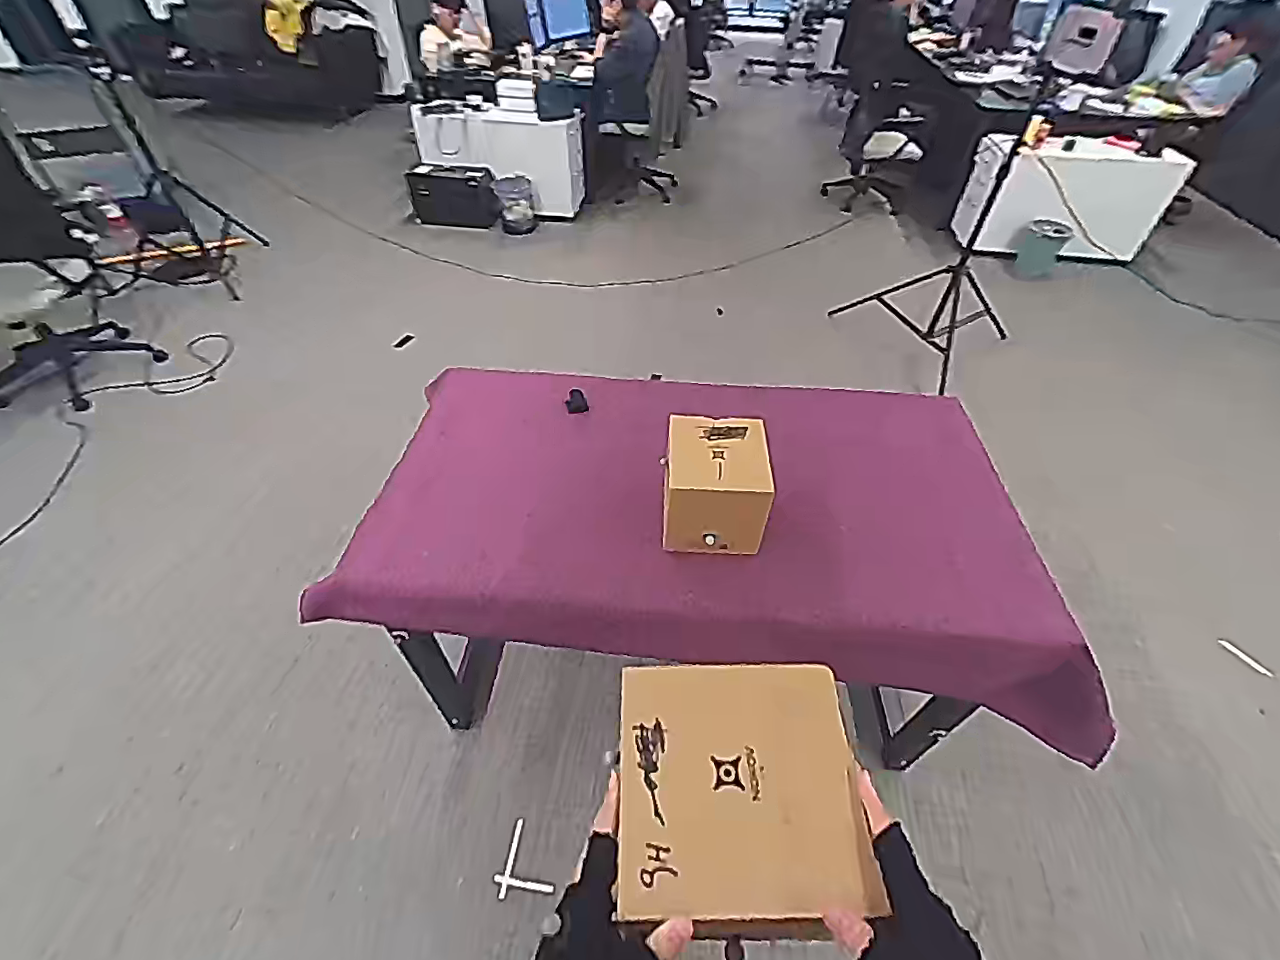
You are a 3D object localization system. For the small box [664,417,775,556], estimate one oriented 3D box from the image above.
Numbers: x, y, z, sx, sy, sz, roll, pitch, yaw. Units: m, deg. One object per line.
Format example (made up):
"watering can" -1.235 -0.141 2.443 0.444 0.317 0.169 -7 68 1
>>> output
"small box" 0.129 0.011 0.947 0.168 0.176 0.179 2 47 1
